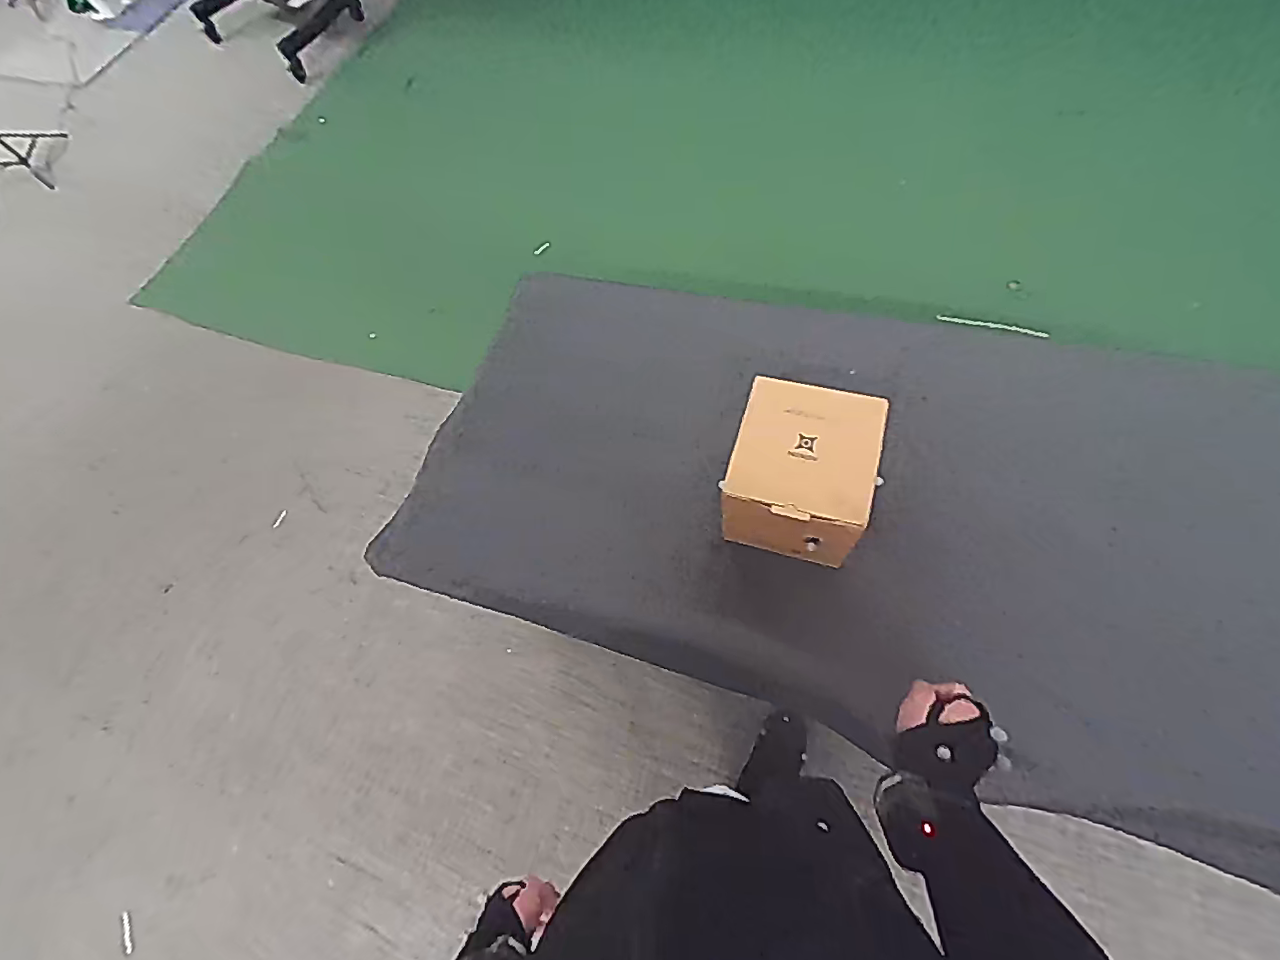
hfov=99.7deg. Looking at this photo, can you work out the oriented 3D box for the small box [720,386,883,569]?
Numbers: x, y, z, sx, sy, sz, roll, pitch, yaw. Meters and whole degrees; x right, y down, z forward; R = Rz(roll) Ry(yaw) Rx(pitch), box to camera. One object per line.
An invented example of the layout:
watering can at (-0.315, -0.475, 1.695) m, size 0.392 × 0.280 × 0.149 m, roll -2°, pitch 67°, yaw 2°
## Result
small box at (0.209, 0.004, 0.728) m, size 0.168 × 0.176 × 0.179 m, roll 14°, pitch 67°, yaw 14°
